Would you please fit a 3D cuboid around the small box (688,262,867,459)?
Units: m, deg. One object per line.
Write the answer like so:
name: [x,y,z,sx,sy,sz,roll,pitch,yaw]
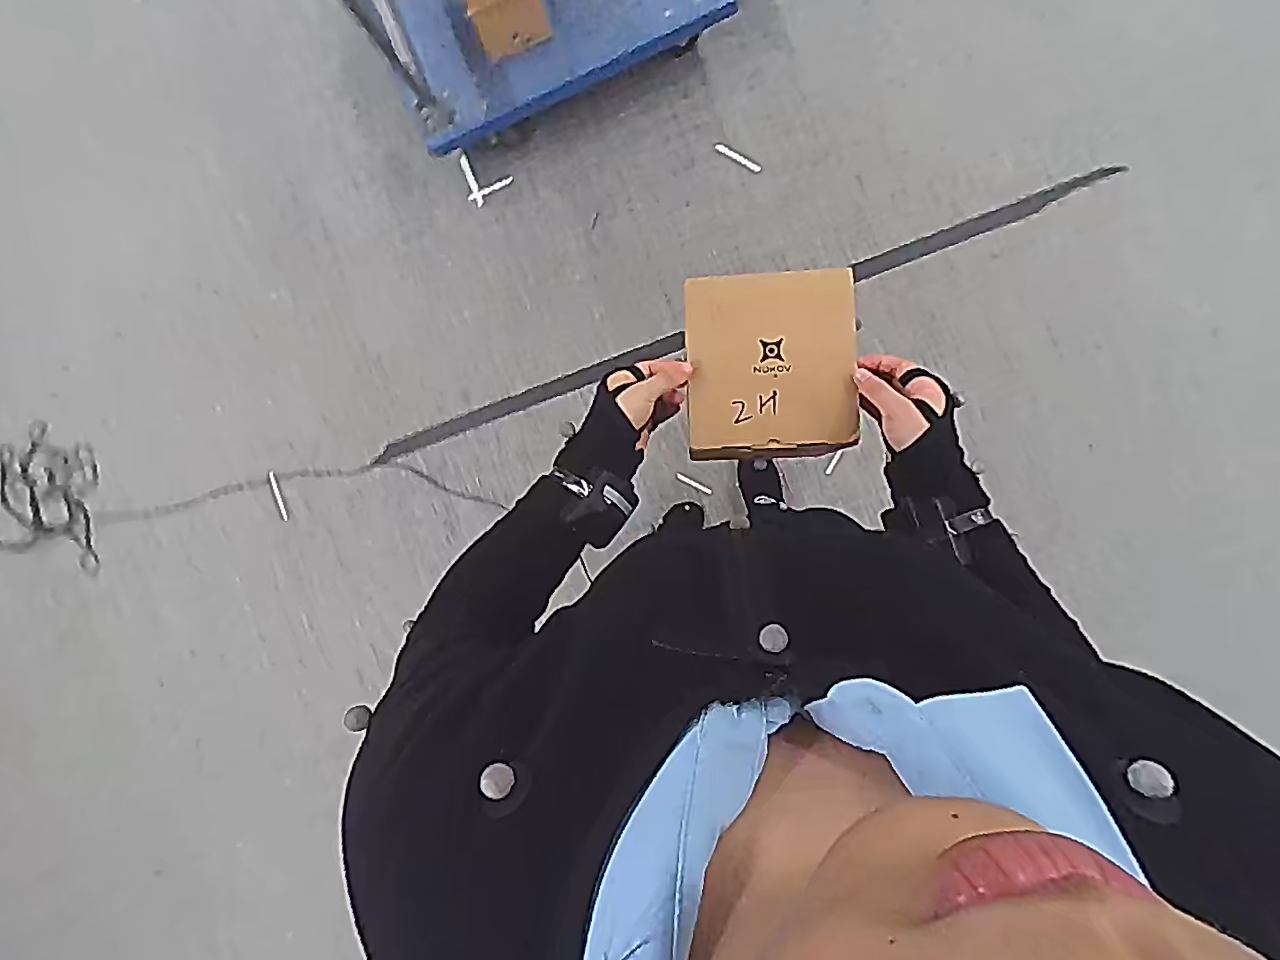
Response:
small box: [0.139,-0.119,0.603,0.168,0.176,0.179,-2,89,6]
